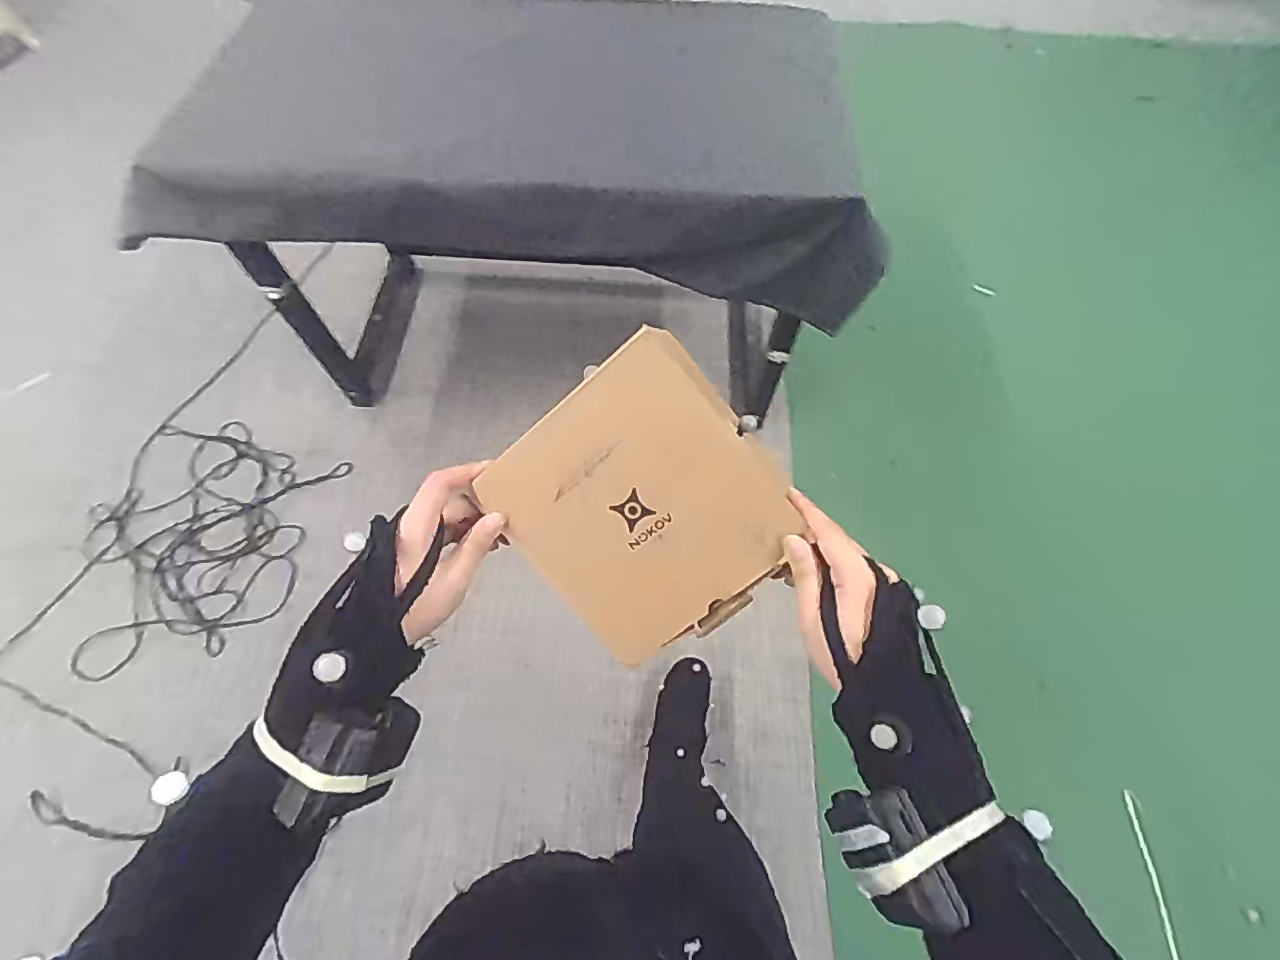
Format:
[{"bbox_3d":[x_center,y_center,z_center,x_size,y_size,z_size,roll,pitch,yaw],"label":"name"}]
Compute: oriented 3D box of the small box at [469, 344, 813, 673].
[{"bbox_3d":[0.007,0.008,0.435,0.168,0.176,0.179,-40,96,13],"label":"small box"}]
